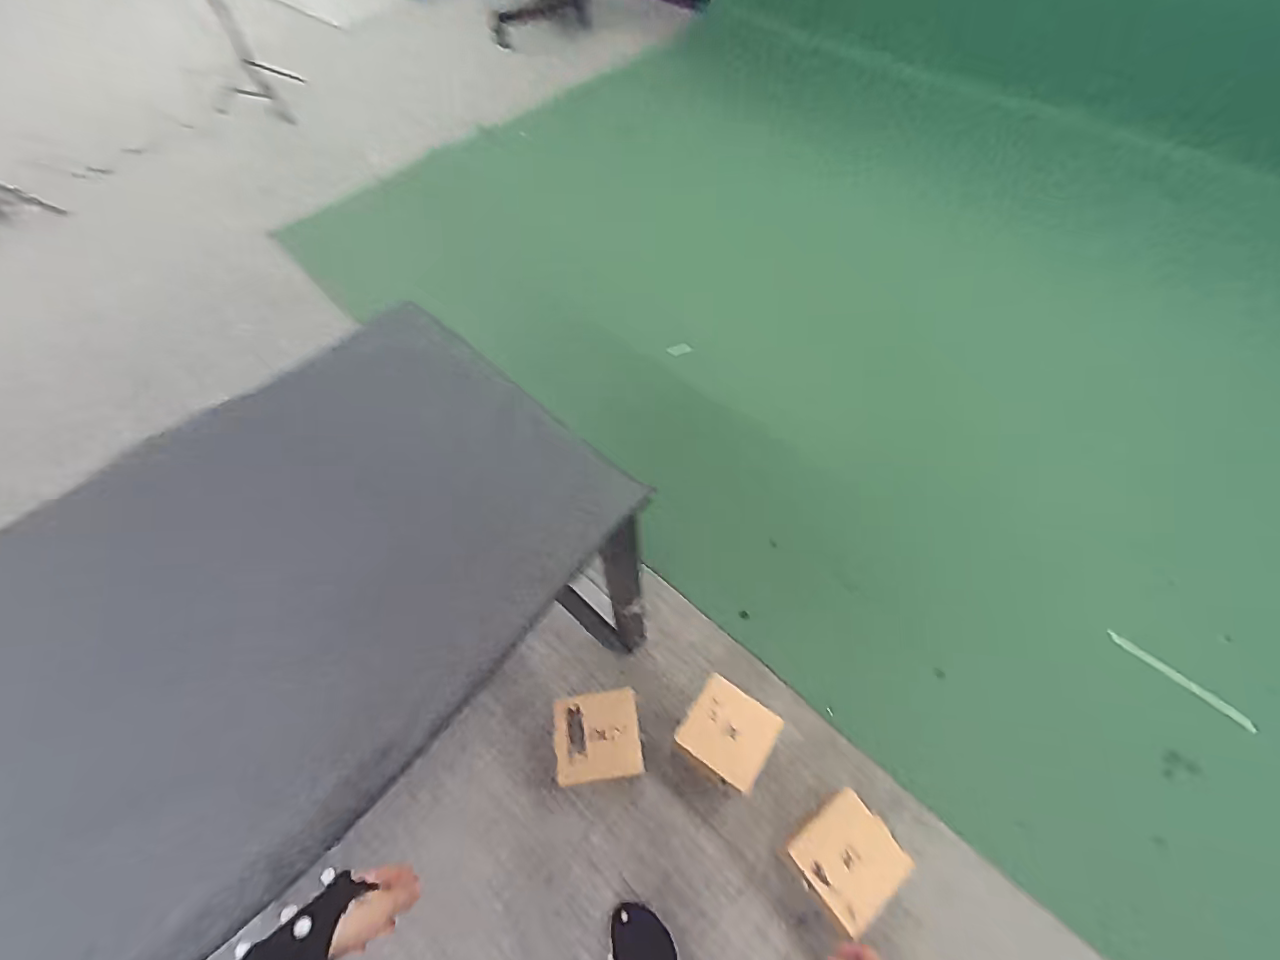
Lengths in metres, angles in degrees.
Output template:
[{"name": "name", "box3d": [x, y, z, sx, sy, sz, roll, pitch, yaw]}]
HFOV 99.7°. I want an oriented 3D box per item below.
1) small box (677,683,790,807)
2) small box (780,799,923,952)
[{"name": "small box", "box3d": [0.195, 0.575, 1.174, 0.179, 0.176, 0.168, 31, 63, 20]}, {"name": "small box", "box3d": [0.399, 0.754, 1.053, 0.179, 0.176, 0.168, -33, 63, -18]}]
